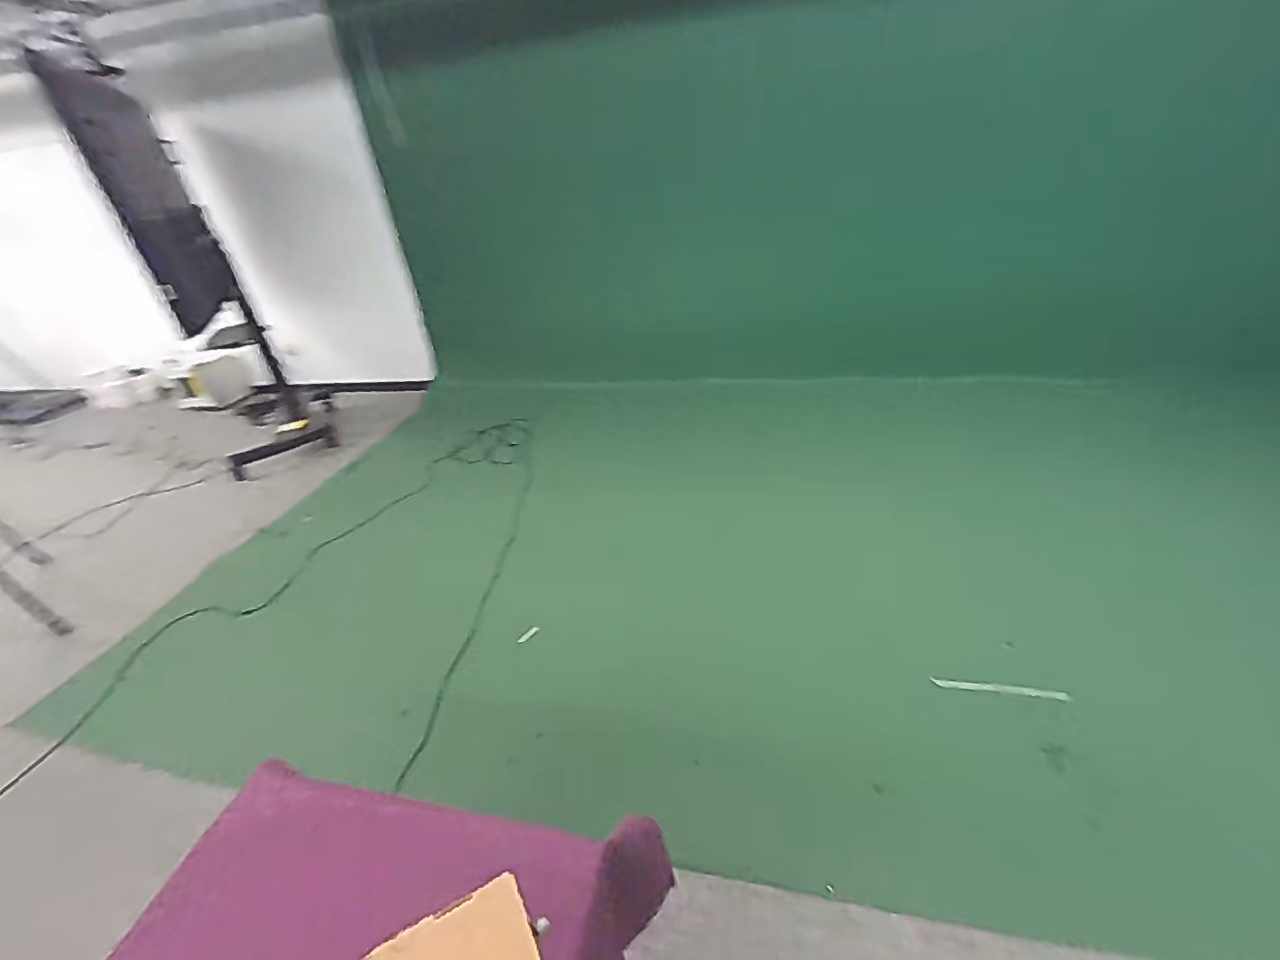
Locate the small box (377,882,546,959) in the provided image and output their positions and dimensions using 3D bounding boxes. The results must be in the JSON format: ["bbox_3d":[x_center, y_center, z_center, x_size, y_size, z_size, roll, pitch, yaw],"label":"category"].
[{"bbox_3d":[-0.131,0.449,0.390,0.168,0.176,0.179,-18,42,-24],"label":"small box"}]
